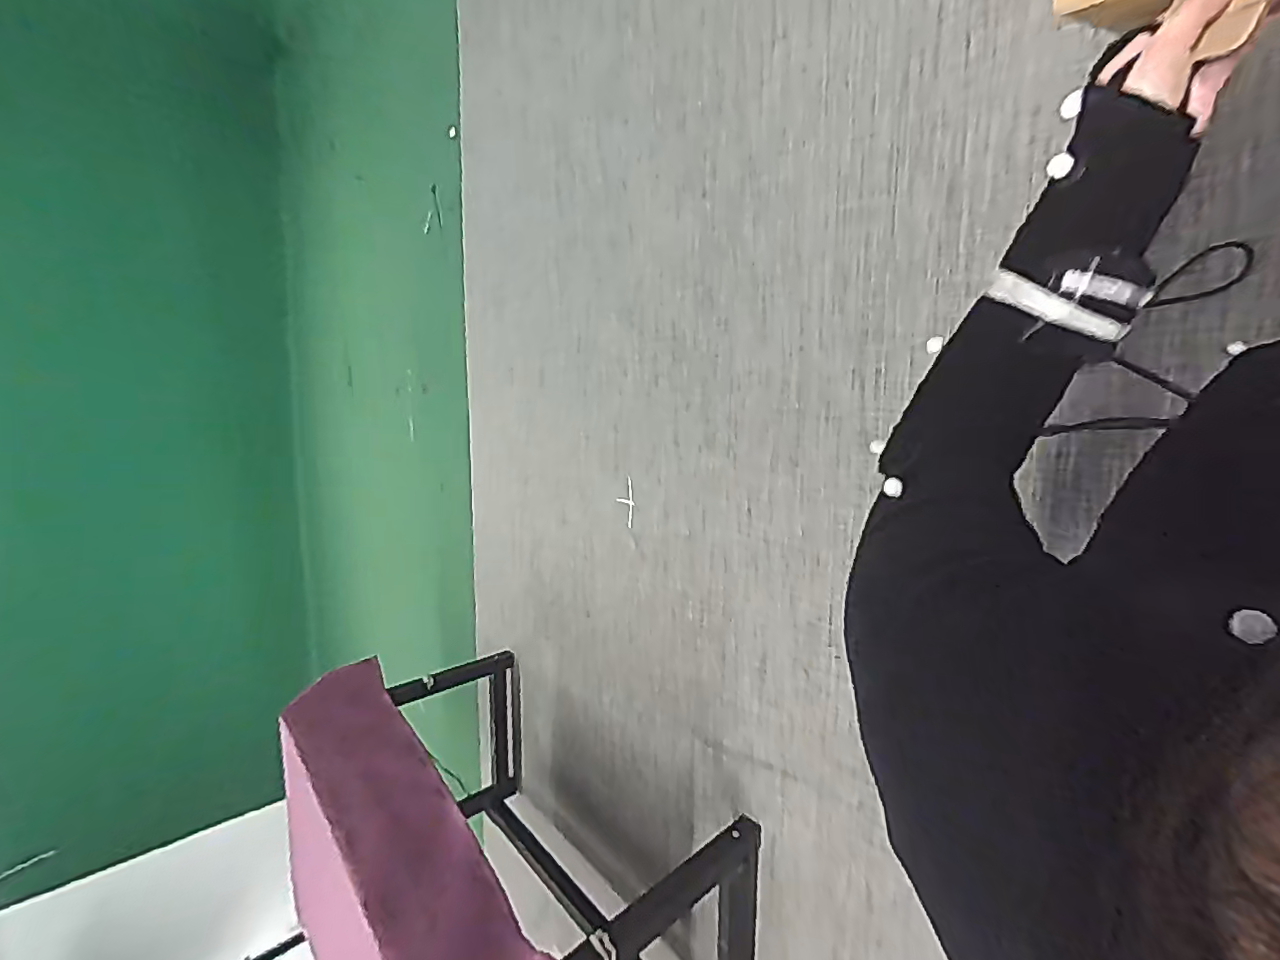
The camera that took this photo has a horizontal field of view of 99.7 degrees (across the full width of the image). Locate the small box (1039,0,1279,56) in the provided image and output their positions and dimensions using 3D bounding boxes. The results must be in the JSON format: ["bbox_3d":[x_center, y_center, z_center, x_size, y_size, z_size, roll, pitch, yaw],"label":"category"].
[{"bbox_3d":[0.385,-0.387,0.319,0.168,0.176,0.179,30,131,52],"label":"small box"}]
